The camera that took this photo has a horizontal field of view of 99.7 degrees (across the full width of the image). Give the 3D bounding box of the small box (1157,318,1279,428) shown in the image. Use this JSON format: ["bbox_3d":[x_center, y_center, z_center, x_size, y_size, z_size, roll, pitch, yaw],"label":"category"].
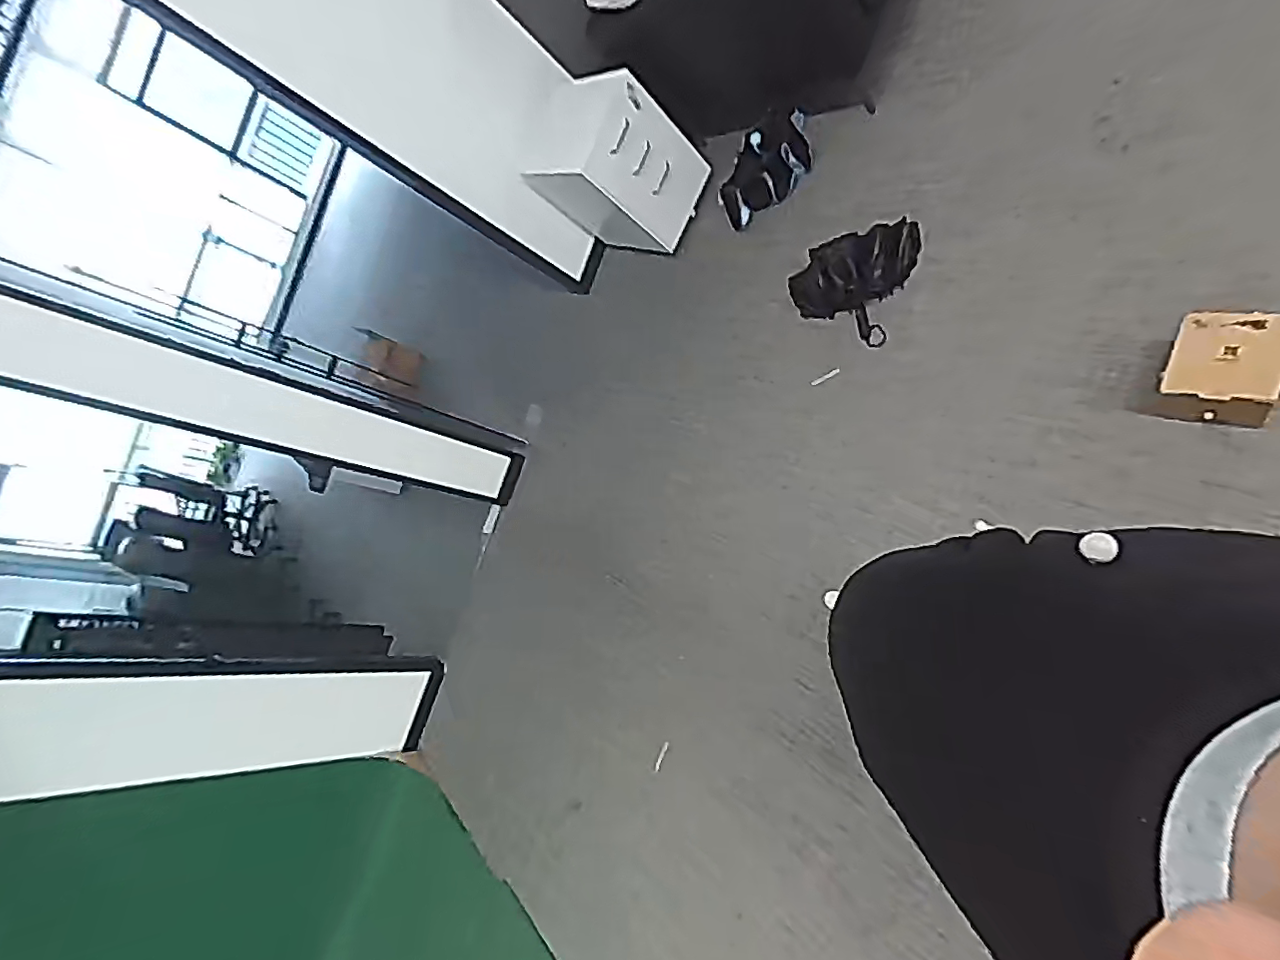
[{"bbox_3d":[1.207,-0.218,1.116,0.168,0.176,0.179,18,91,45],"label":"small box"}]
